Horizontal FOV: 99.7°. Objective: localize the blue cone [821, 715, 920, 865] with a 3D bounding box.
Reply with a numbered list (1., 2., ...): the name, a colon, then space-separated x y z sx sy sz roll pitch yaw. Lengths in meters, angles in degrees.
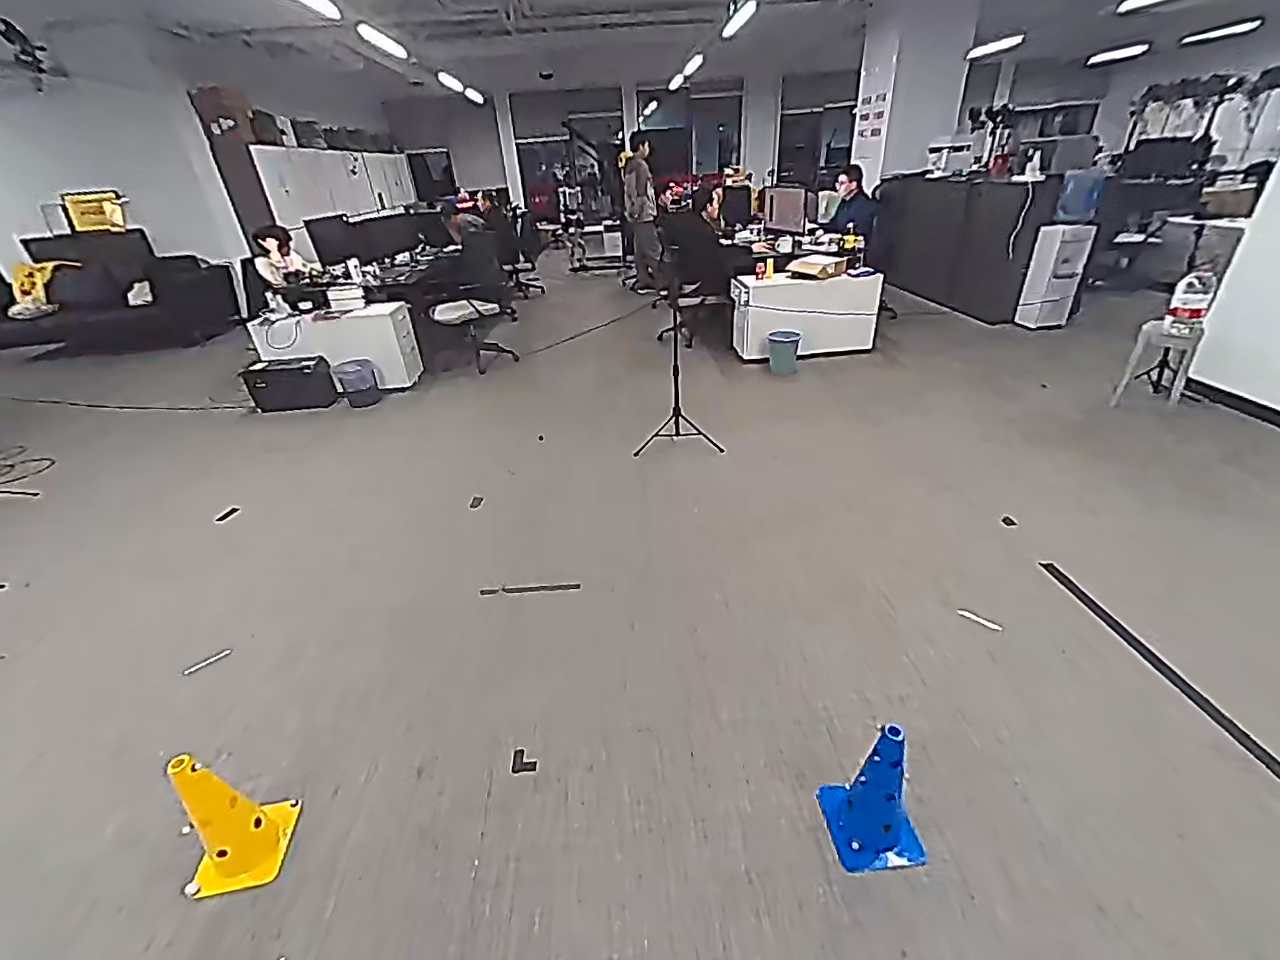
1. blue cone: 0.545 0.682 1.229 0.193 0.380 0.192 -5 29 -1
